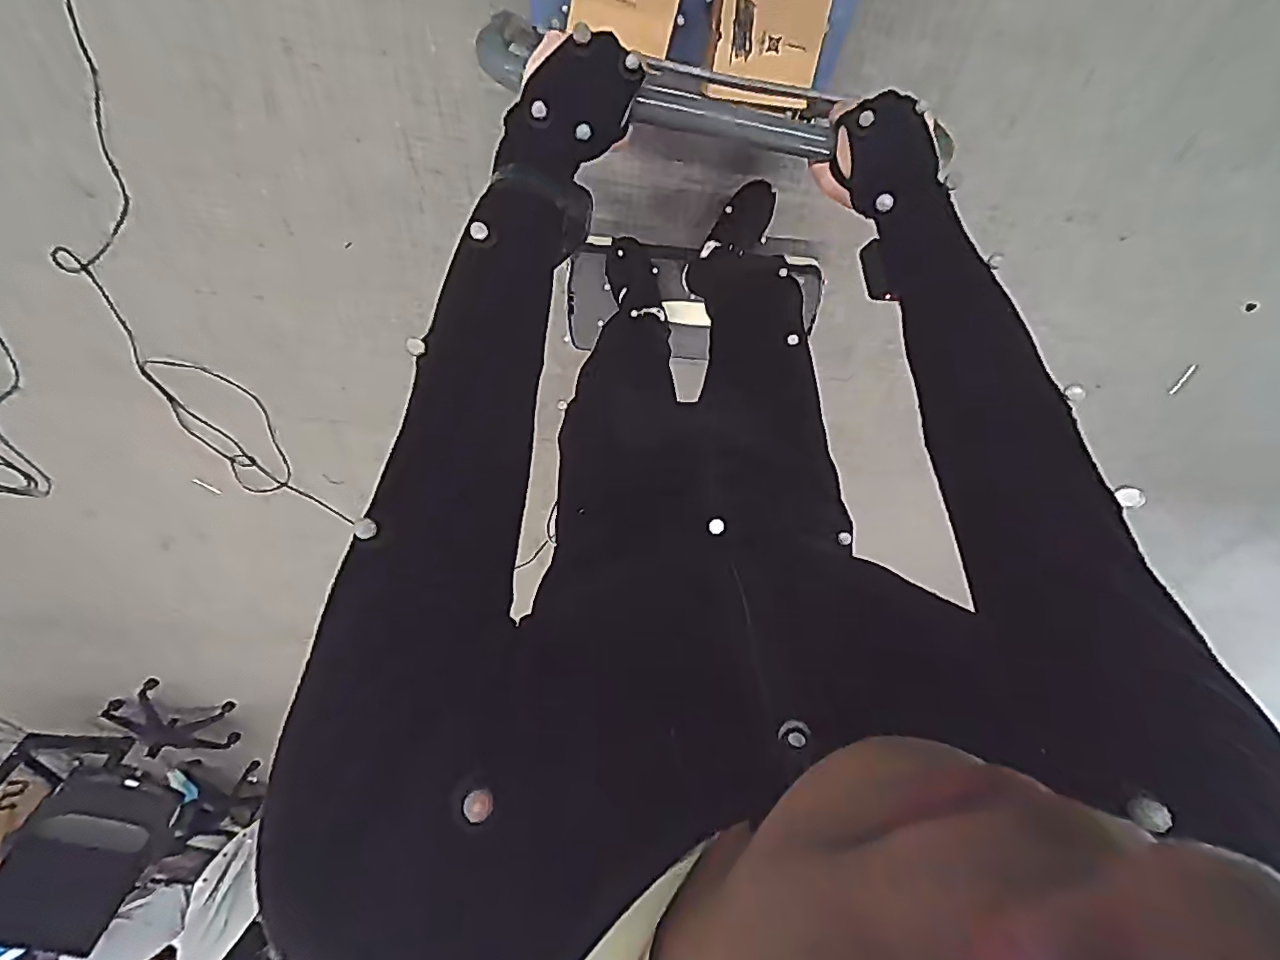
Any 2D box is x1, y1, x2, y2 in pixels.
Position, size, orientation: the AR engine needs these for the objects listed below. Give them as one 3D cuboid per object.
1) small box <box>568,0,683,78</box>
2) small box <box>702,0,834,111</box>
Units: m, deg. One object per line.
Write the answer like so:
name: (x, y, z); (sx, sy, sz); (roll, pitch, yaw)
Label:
small box: (-0.018, -0.808, 0.903); (0.168, 0.176, 0.179); (13, 128, -11)
small box: (0.211, -0.758, 0.941); (0.179, 0.176, 0.168); (5, 129, -4)
